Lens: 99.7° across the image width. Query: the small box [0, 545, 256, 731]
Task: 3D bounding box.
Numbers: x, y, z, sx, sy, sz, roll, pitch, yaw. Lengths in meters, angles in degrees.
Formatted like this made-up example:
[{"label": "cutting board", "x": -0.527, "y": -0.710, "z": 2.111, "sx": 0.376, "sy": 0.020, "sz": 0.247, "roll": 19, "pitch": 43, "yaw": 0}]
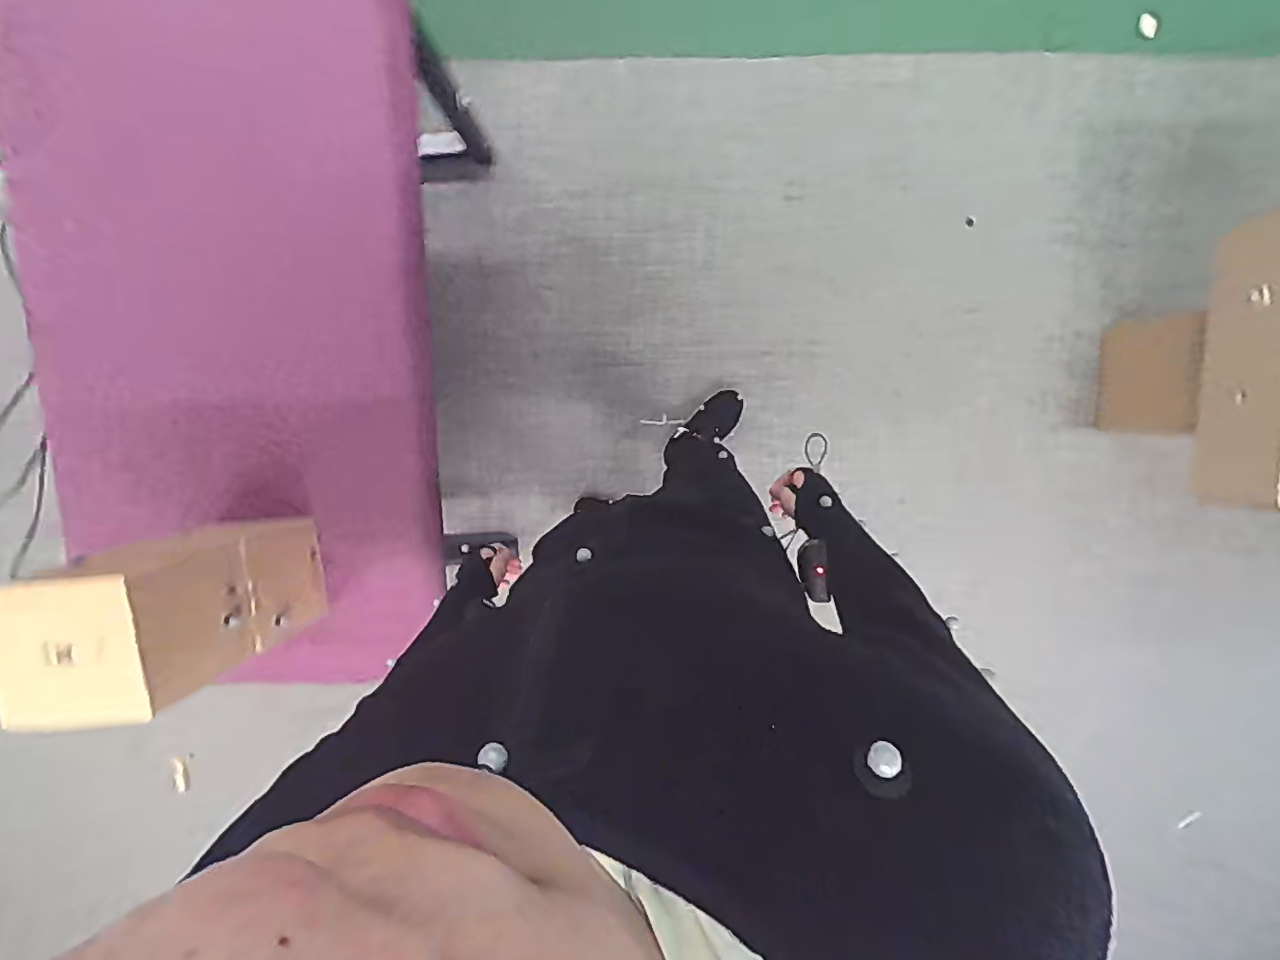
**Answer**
[{"label": "small box", "x": -0.624, "y": 0.182, "z": 0.664, "sx": 0.179, "sy": 0.176, "sz": 0.168, "roll": -5, "pitch": 97, "yaw": 1}]
